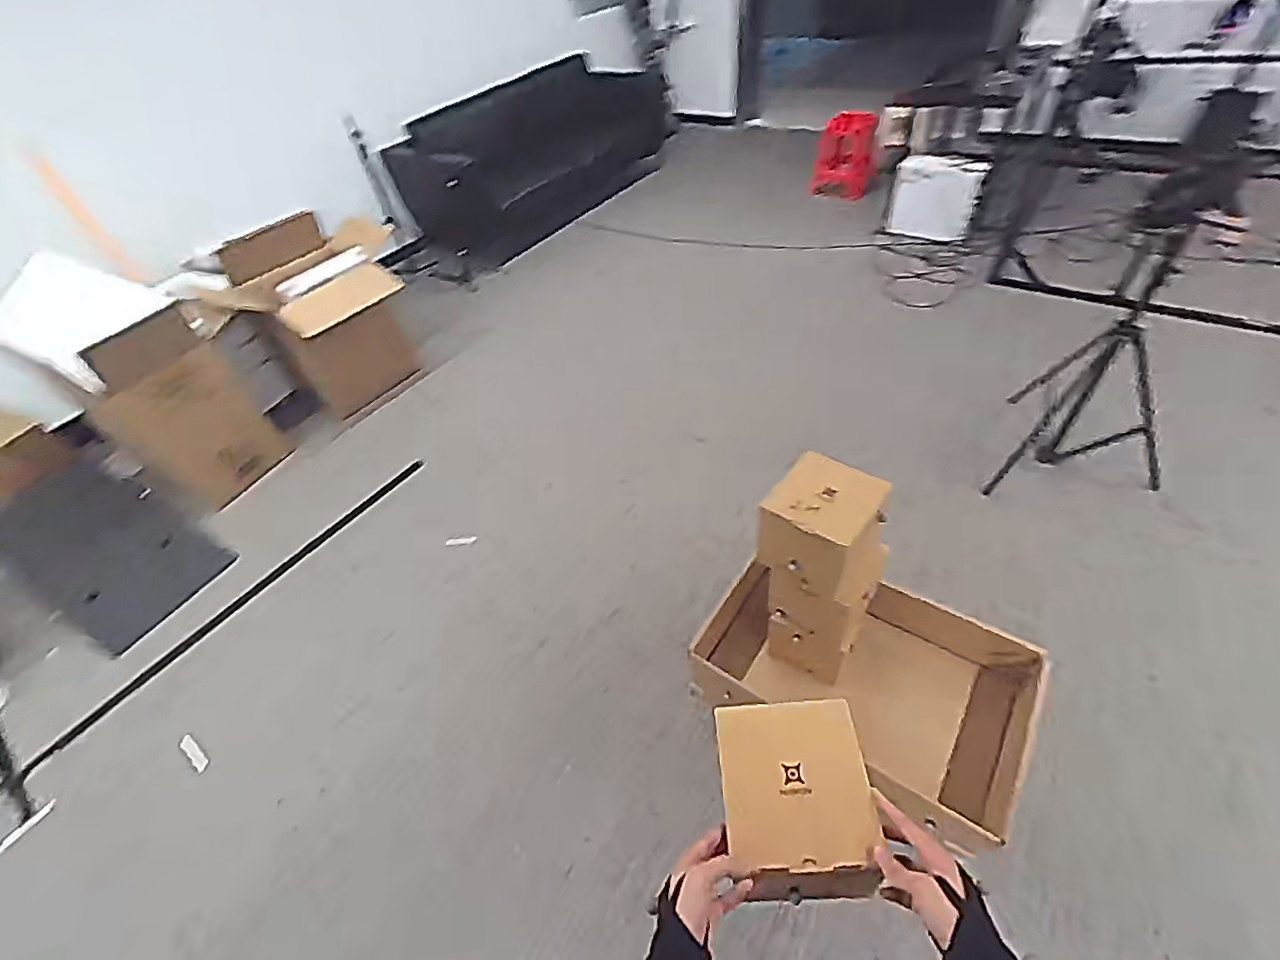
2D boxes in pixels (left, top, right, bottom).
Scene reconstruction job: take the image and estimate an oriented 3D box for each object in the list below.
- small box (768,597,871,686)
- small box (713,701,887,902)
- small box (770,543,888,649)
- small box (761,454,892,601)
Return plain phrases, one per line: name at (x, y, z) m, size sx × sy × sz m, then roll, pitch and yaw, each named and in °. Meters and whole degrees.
small box at (0.402, 0.330, 1.232) m, size 0.168 × 0.176 × 0.179 m, roll 22°, pitch 53°, yaw 27°
small box at (0.184, 0.402, 0.677) m, size 0.168 × 0.176 × 0.179 m, roll -8°, pitch 45°, yaw 5°
small box at (0.381, 0.214, 1.117) m, size 0.168 × 0.176 × 0.179 m, roll 28°, pitch 56°, yaw 30°
small box at (0.339, 0.089, 1.013) m, size 0.168 × 0.176 × 0.179 m, roll 29°, pitch 57°, yaw 31°
